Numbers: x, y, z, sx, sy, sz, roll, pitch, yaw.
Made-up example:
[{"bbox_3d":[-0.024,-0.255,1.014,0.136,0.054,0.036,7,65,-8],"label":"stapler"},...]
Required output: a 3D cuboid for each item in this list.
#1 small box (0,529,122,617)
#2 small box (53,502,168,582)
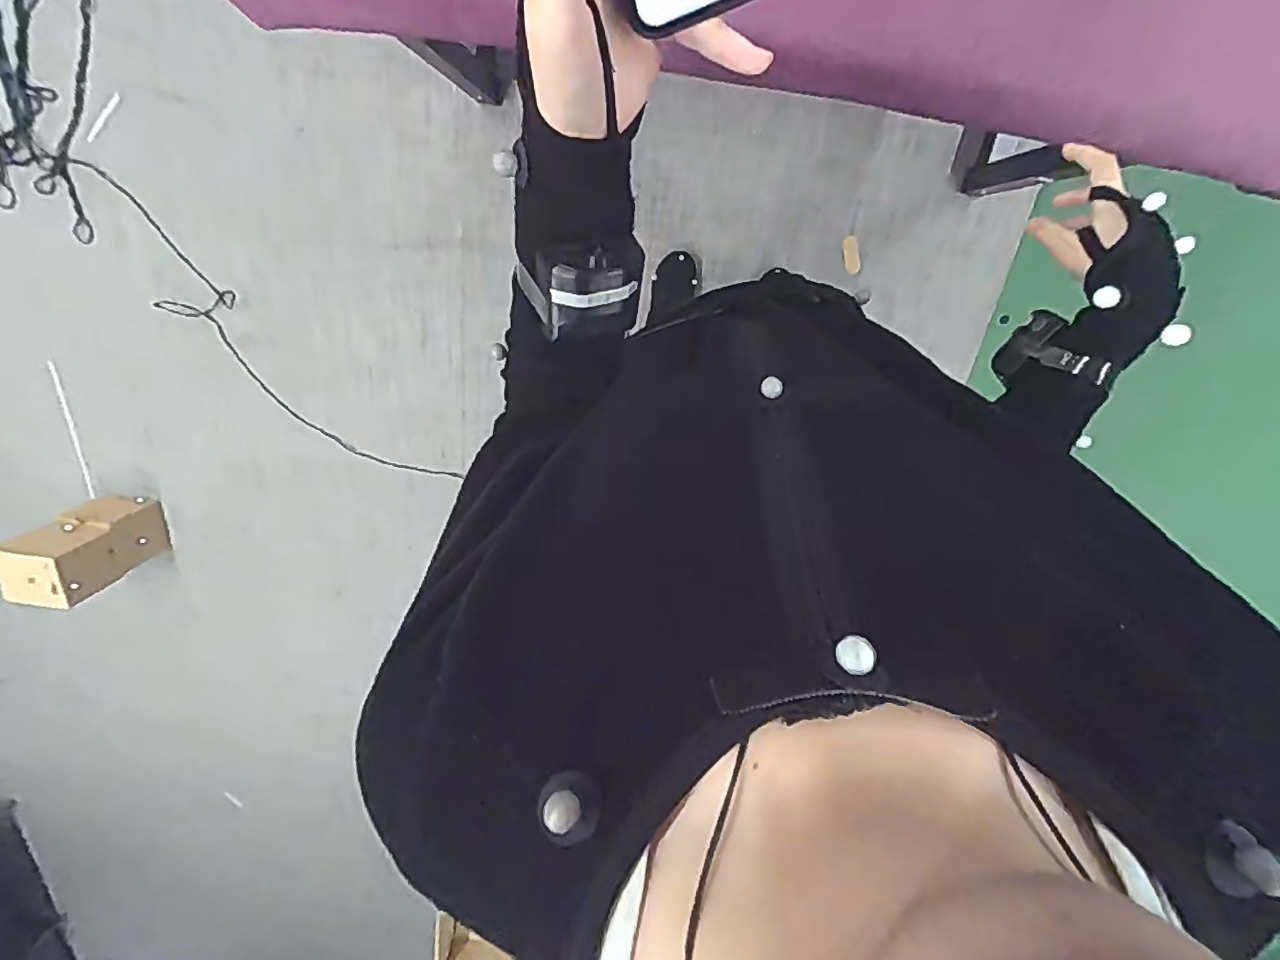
[{"bbox_3d":[-1.607,0.251,1.494,0.179,0.176,0.168,9,113,1],"label":"small box"},{"bbox_3d":[-1.598,0.183,1.644,0.168,0.176,0.179,8,113,1],"label":"small box"}]
